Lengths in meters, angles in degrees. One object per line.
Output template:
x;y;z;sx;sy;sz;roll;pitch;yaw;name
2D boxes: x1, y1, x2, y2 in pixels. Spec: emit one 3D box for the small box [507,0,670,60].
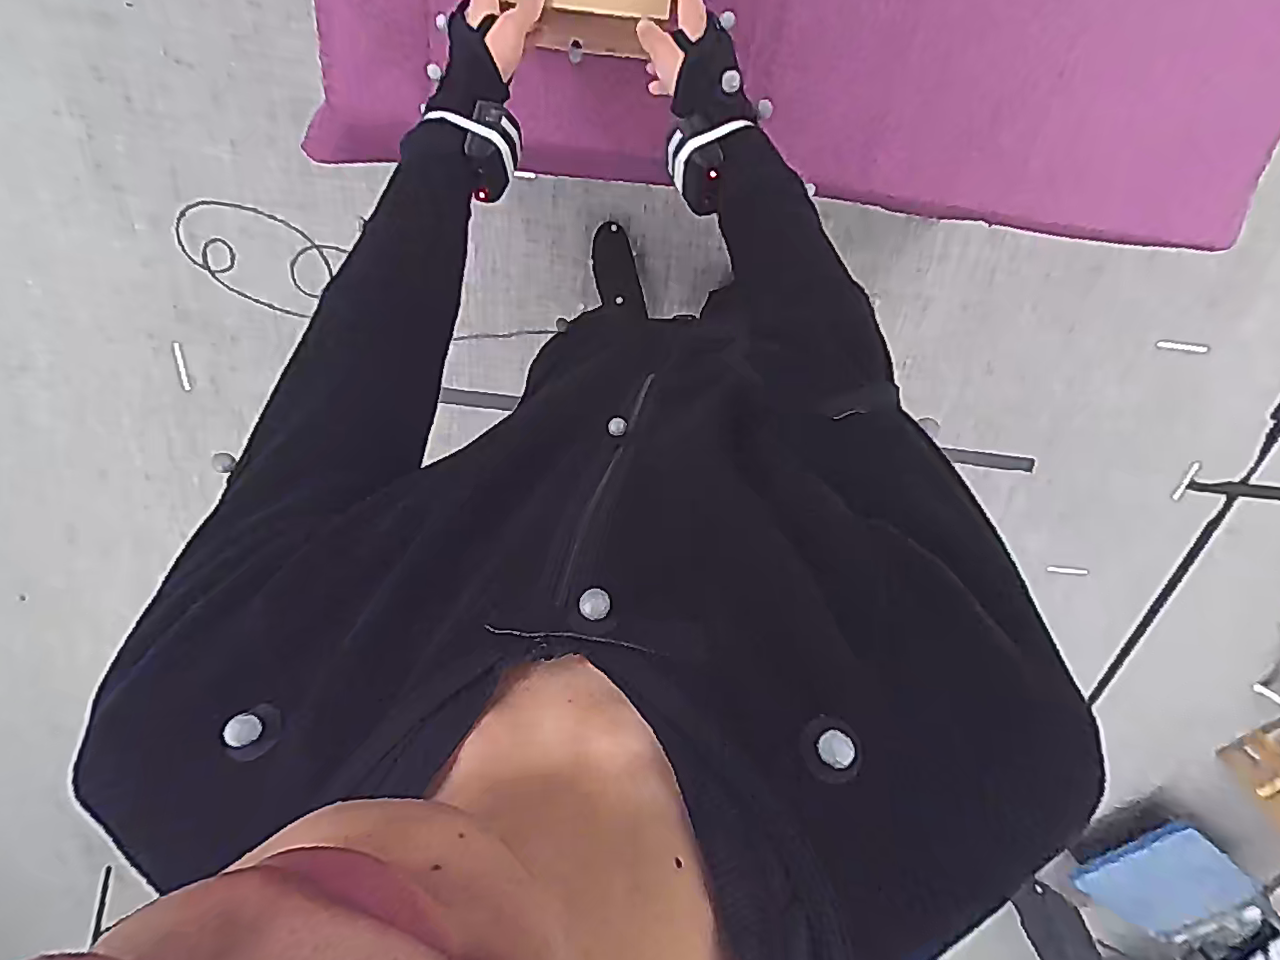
-0.049;-0.546;0.528;0.168;0.176;0.179;4;118;-4;small box
